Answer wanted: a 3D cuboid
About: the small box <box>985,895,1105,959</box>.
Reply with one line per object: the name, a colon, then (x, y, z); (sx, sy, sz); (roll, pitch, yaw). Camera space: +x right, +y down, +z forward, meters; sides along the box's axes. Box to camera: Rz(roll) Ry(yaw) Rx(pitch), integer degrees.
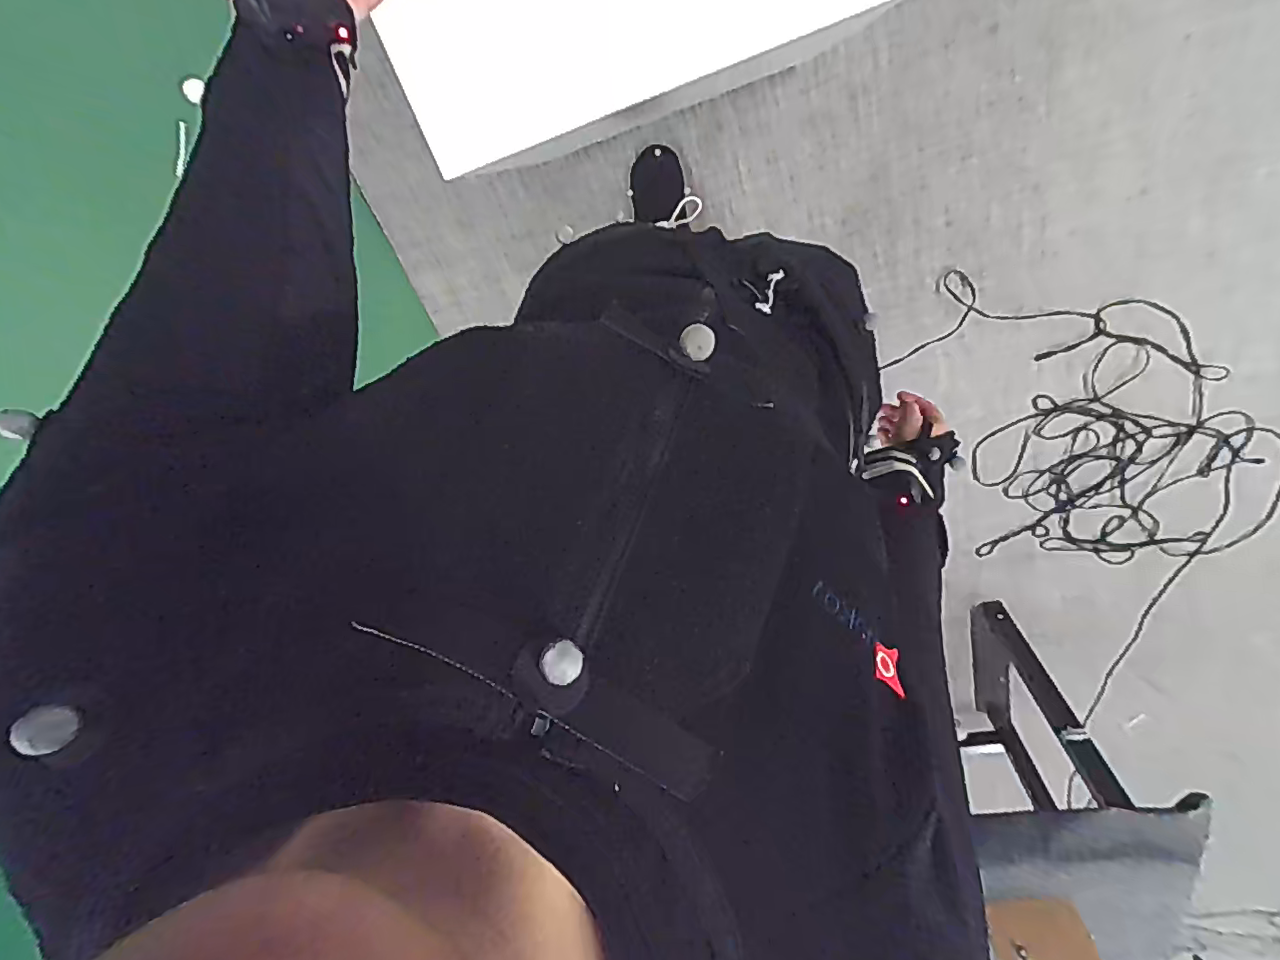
small box: (0.823, 0.970, 1.089); (0.179, 0.176, 0.168); (-18, 120, 16)
